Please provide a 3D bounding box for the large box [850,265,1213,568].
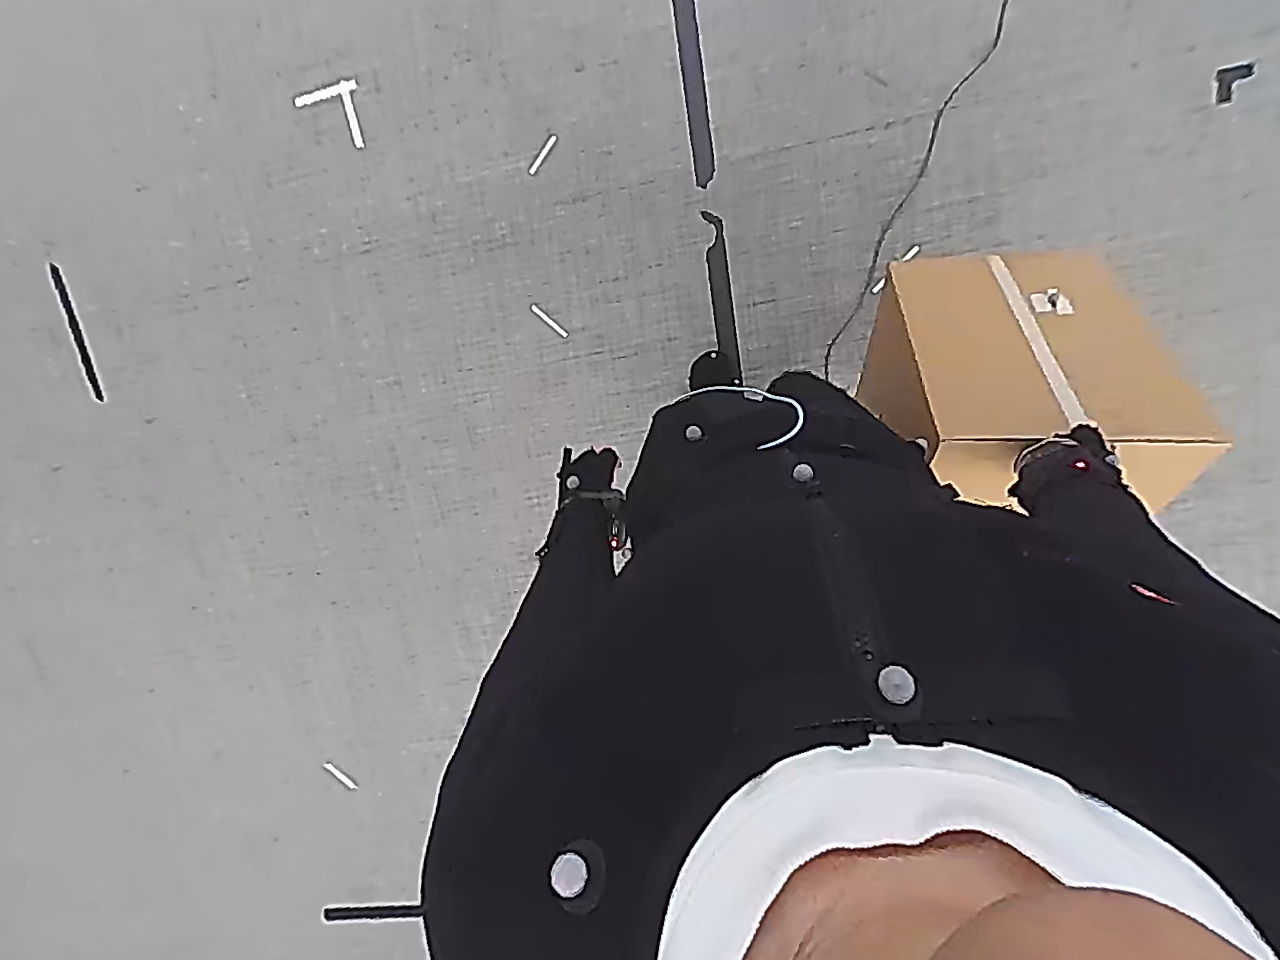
[{"bbox_3d":[0.559,-0.103,0.891,0.320,0.408,0.320,2,140,8],"label":"large box"}]
